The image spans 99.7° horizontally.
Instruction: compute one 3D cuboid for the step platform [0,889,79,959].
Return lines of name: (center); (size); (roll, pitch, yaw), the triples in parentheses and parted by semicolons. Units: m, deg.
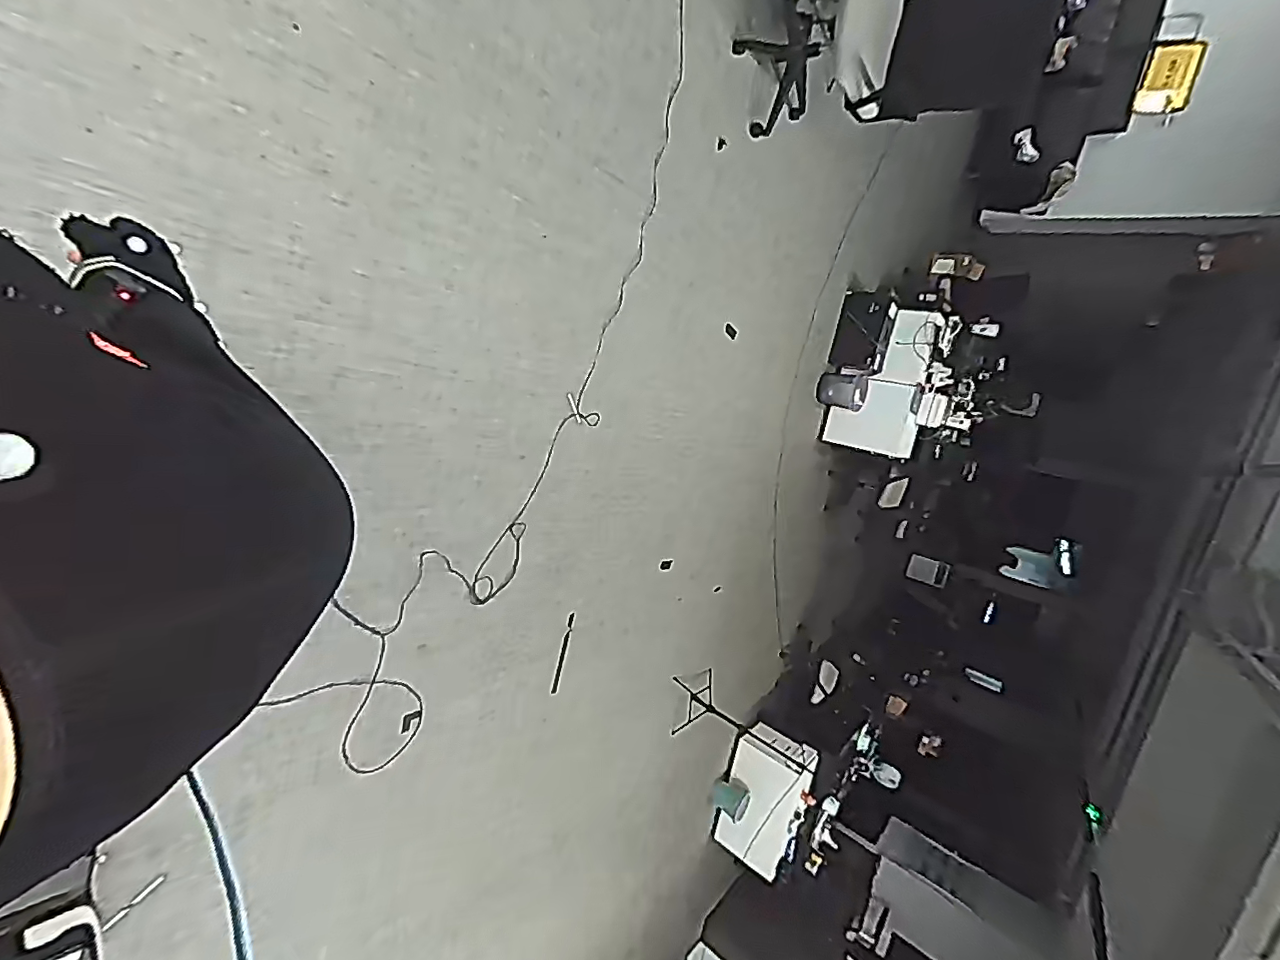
step platform: (-1.493, 1.096, 0.967); (0.684, 0.204, 0.286); (-2, 107, -51)
